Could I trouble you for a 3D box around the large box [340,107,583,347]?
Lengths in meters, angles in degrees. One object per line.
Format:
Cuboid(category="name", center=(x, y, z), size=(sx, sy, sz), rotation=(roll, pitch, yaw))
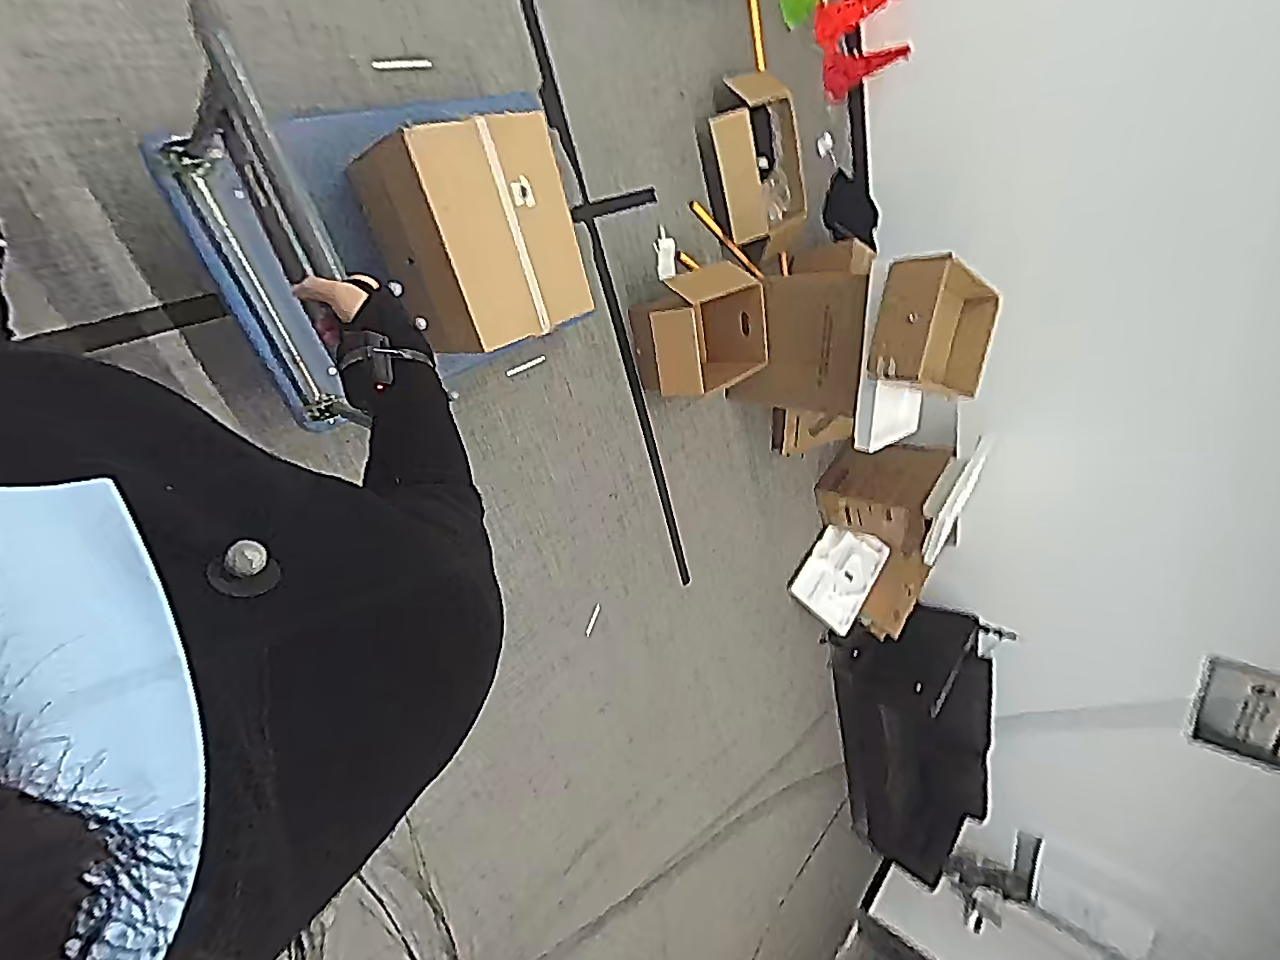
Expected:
Cuboid(category="large box", center=(-0.386, -0.539, 1.205), size=(0.320, 0.320, 0.408), rotation=(-35, 122, -35))
